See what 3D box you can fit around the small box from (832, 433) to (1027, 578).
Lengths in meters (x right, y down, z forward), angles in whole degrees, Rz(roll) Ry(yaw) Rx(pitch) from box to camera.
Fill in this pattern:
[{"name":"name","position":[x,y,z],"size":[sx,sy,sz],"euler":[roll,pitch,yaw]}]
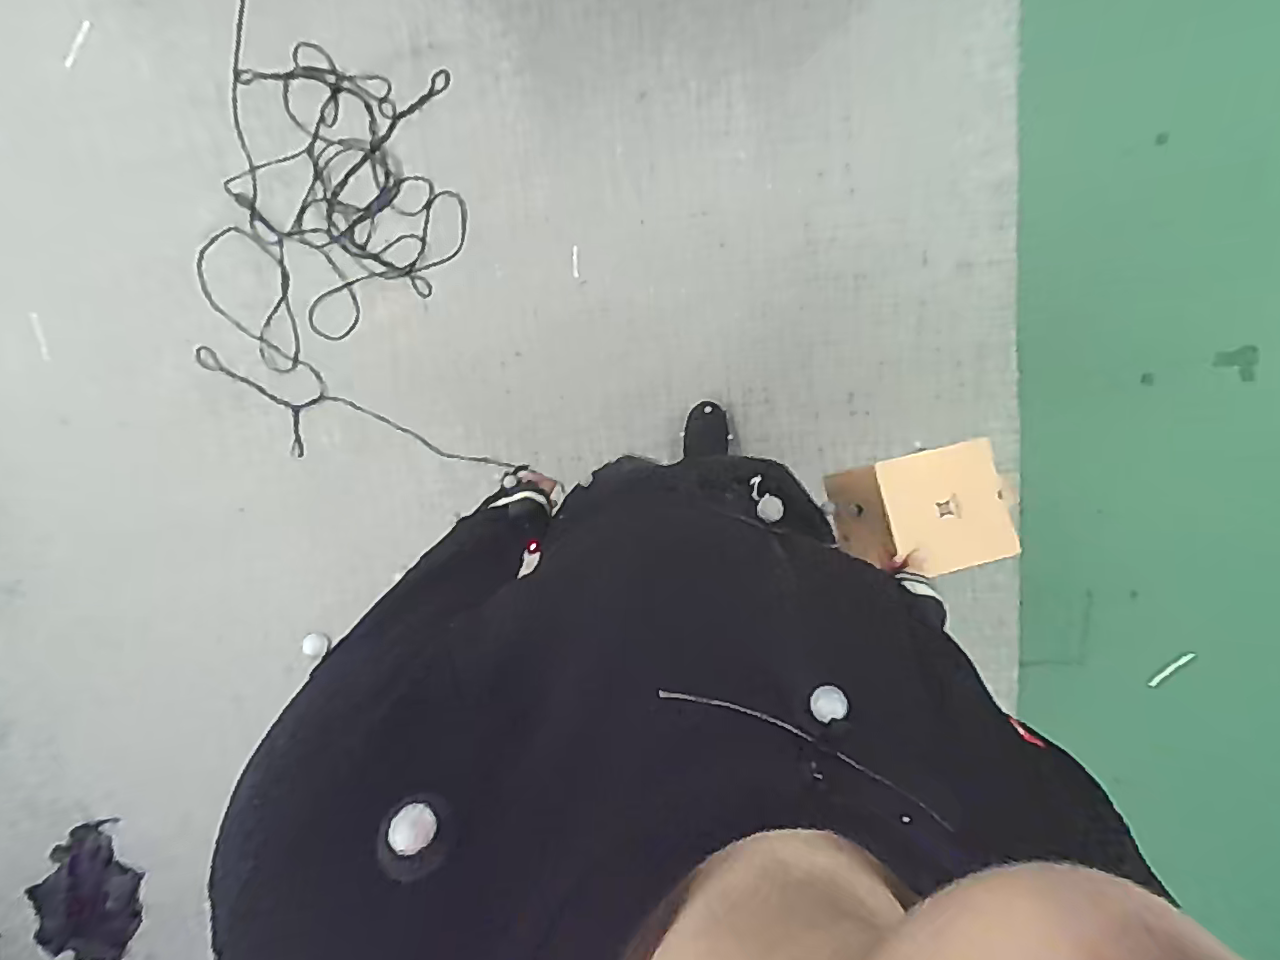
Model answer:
[{"name":"small box","position":[0.403,0.042,0.791],"size":[0.179,0.176,0.168],"euler":[-13,85,-8]}]
